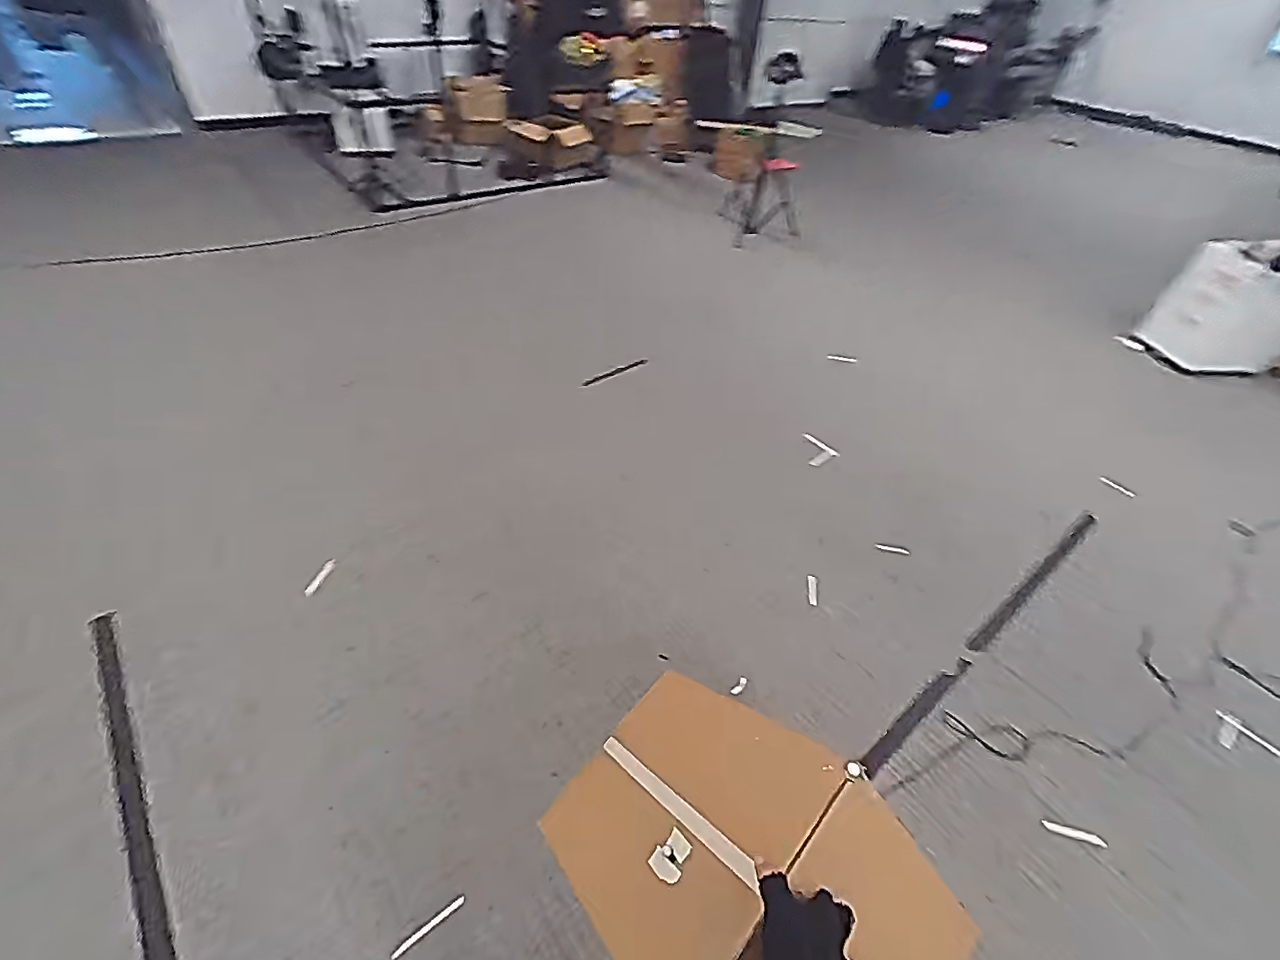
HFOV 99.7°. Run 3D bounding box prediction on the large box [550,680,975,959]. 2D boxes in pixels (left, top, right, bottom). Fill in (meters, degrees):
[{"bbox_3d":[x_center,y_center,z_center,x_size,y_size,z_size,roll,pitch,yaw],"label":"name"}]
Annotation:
[{"bbox_3d":[0.138,0.544,0.743,0.320,0.408,0.320,-42,105,-22],"label":"large box"}]
